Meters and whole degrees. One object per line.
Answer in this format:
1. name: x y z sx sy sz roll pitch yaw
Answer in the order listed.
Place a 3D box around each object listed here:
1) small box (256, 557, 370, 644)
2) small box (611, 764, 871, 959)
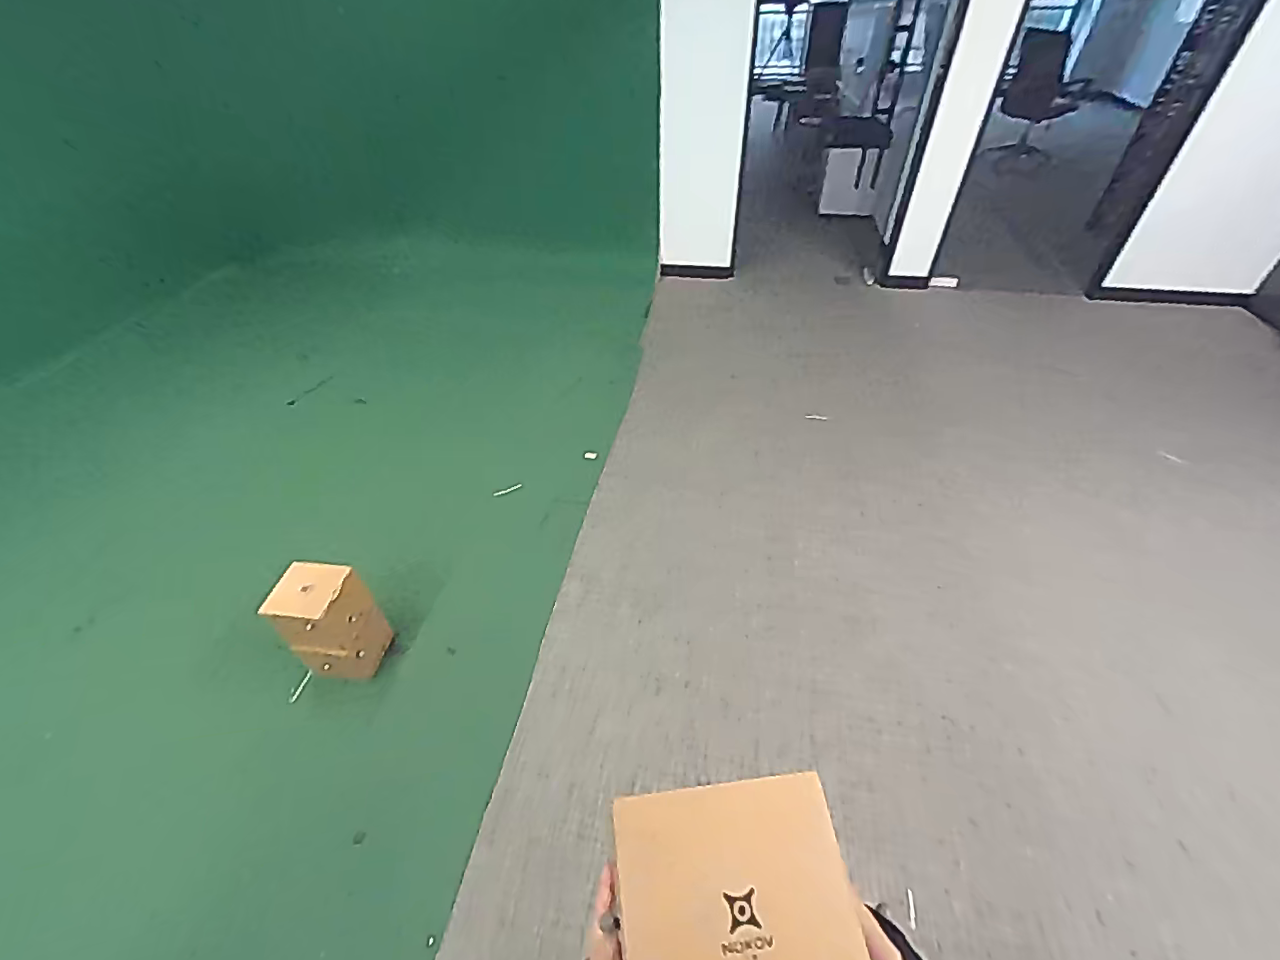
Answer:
1. small box: -0.881 0.331 1.477 0.179 0.176 0.168 4 44 5
2. small box: 0.065 0.346 0.436 0.168 0.176 0.179 -3 56 -7
